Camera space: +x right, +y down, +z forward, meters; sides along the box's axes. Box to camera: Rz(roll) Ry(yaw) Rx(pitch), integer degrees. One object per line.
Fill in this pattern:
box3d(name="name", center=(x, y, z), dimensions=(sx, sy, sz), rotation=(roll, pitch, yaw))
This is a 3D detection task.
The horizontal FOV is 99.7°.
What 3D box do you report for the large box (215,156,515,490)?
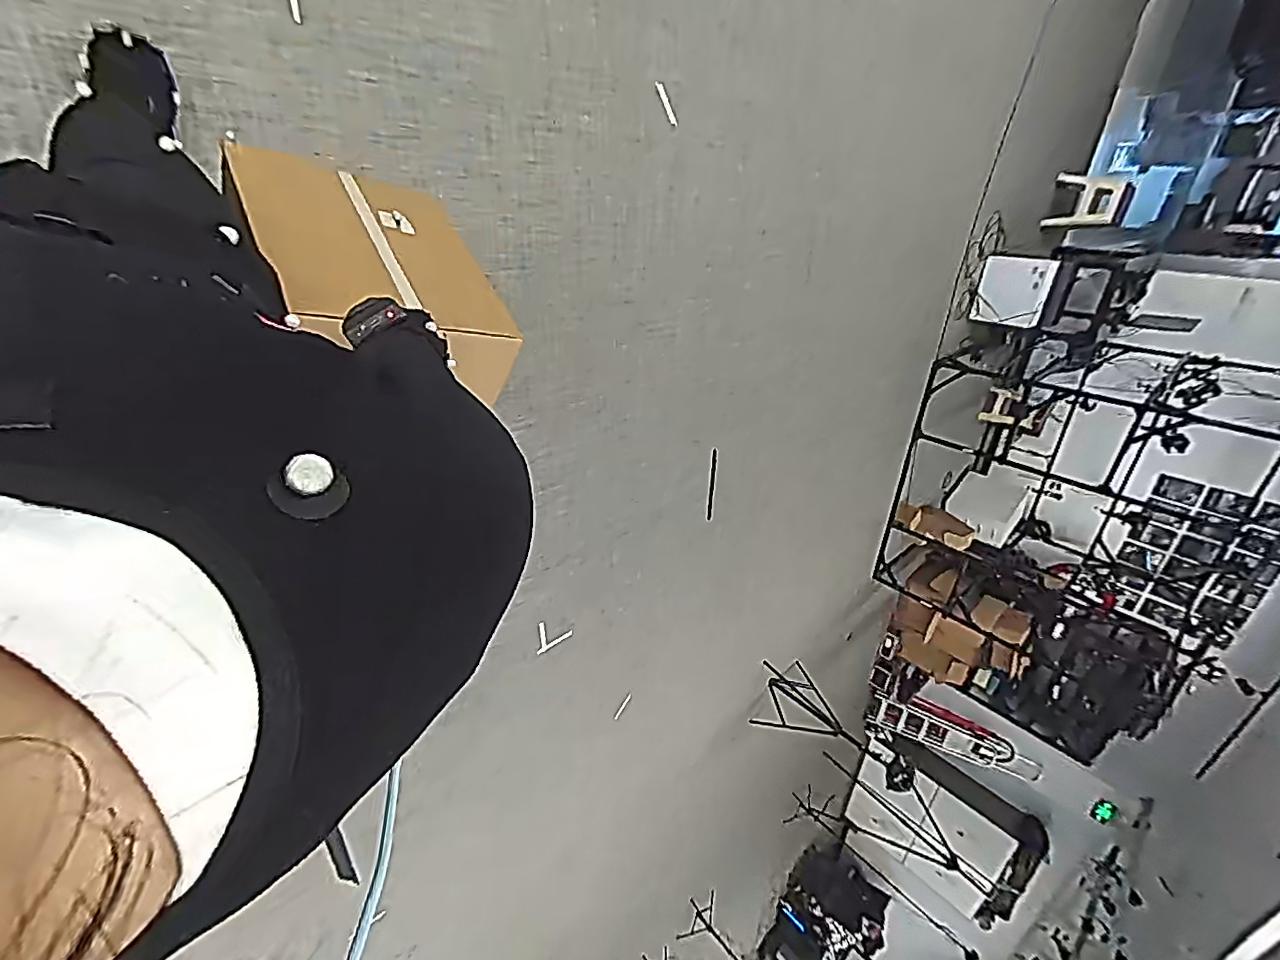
box3d(name="large box", center=(-0.470, -0.240, 0.889), dimensions=(0.320, 0.408, 0.320), rotation=(-6, 141, -45))
